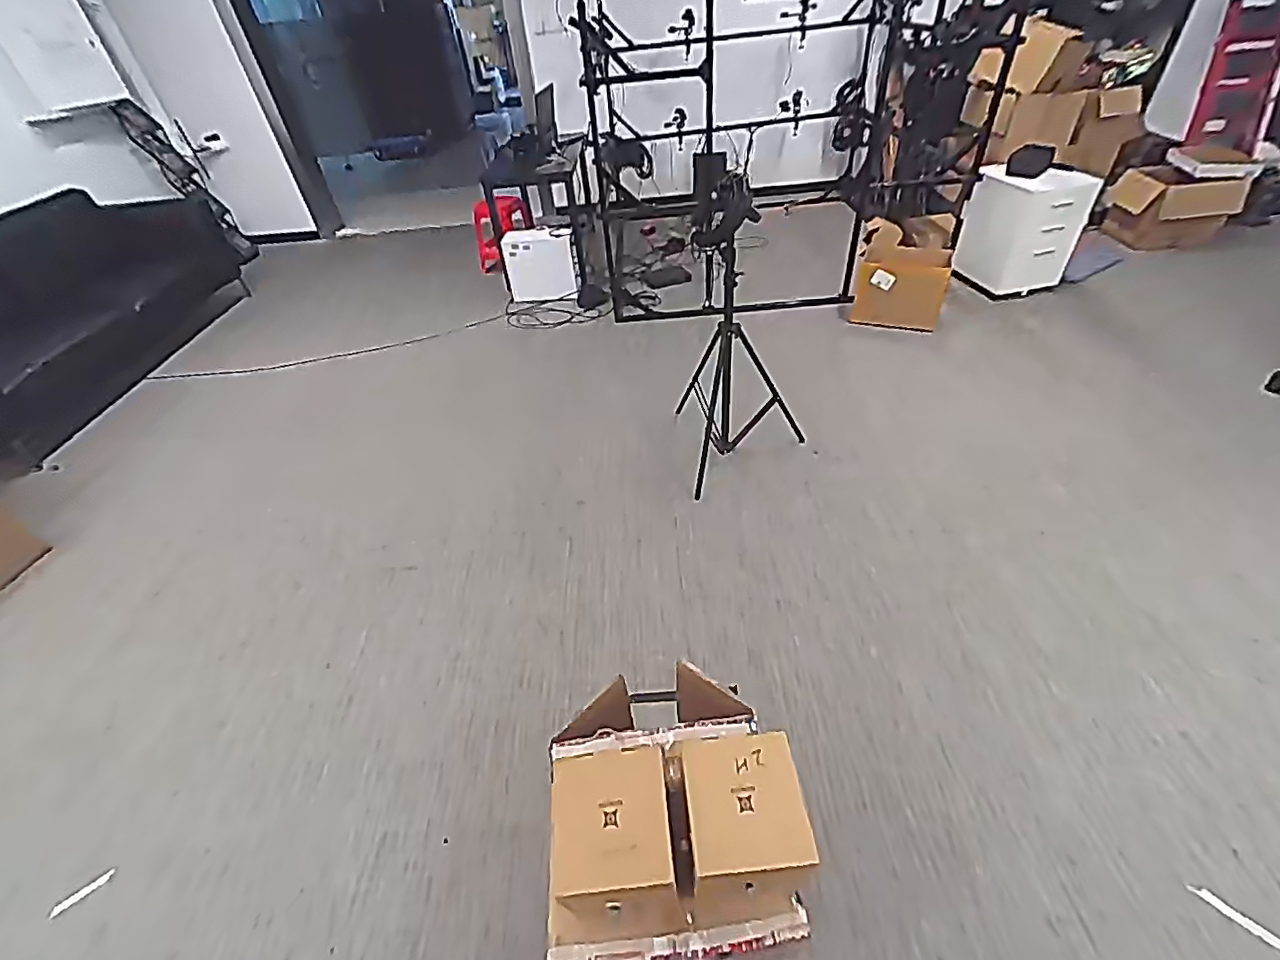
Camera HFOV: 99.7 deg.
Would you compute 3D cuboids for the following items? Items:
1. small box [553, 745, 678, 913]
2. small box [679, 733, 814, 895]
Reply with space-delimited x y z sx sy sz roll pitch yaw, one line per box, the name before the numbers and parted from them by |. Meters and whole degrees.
small box | -0.035 0.536 0.830 0.168 0.176 0.179 -8 46 0
small box | 0.152 0.515 0.830 0.168 0.176 0.179 -5 44 -1
